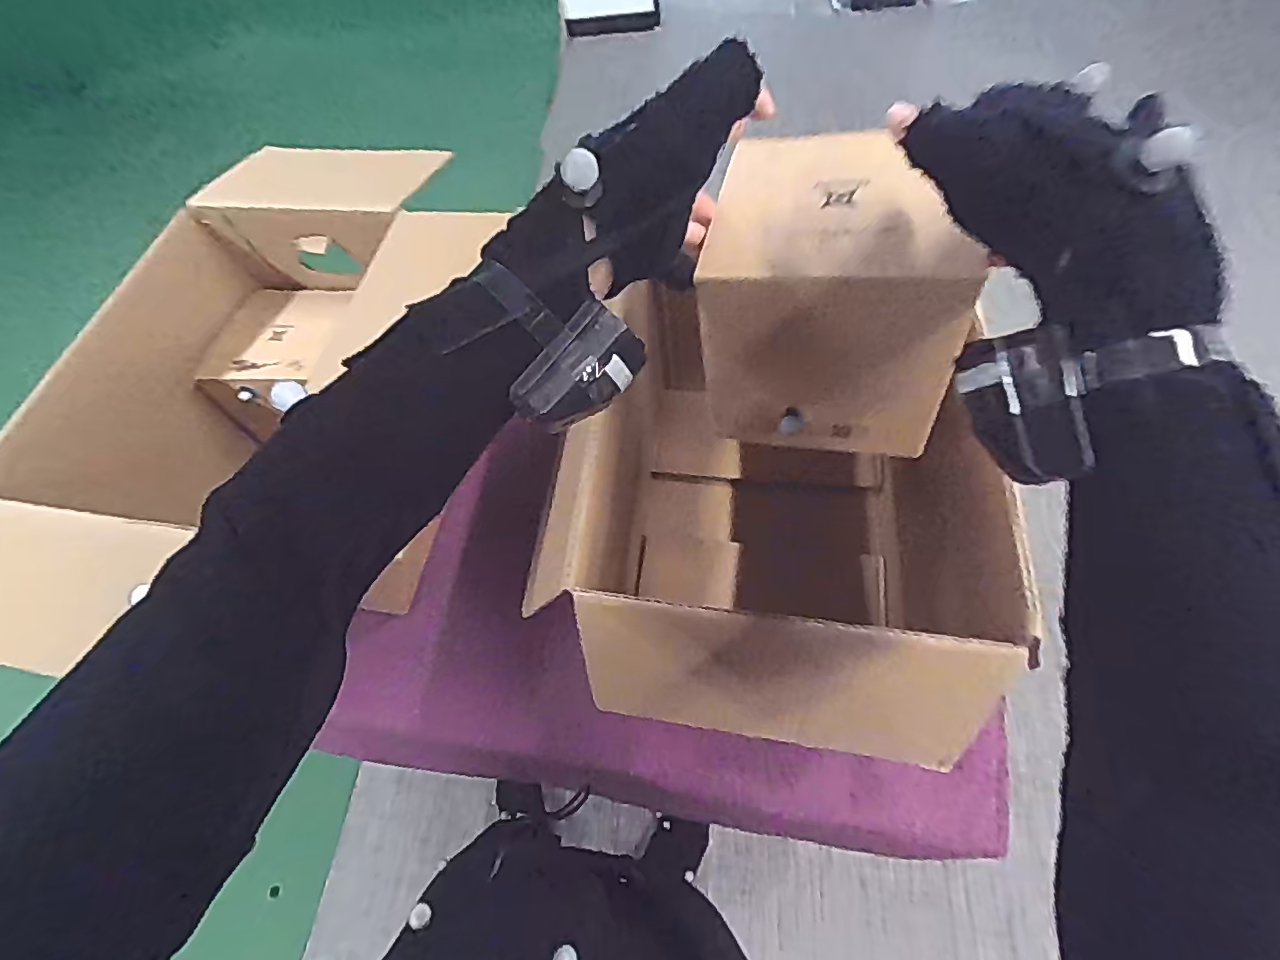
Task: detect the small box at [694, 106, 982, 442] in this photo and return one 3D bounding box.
[{"bbox_3d":[0.147,-0.154,0.424,0.168,0.176,0.179,6,59,19],"label":"small box"}]
